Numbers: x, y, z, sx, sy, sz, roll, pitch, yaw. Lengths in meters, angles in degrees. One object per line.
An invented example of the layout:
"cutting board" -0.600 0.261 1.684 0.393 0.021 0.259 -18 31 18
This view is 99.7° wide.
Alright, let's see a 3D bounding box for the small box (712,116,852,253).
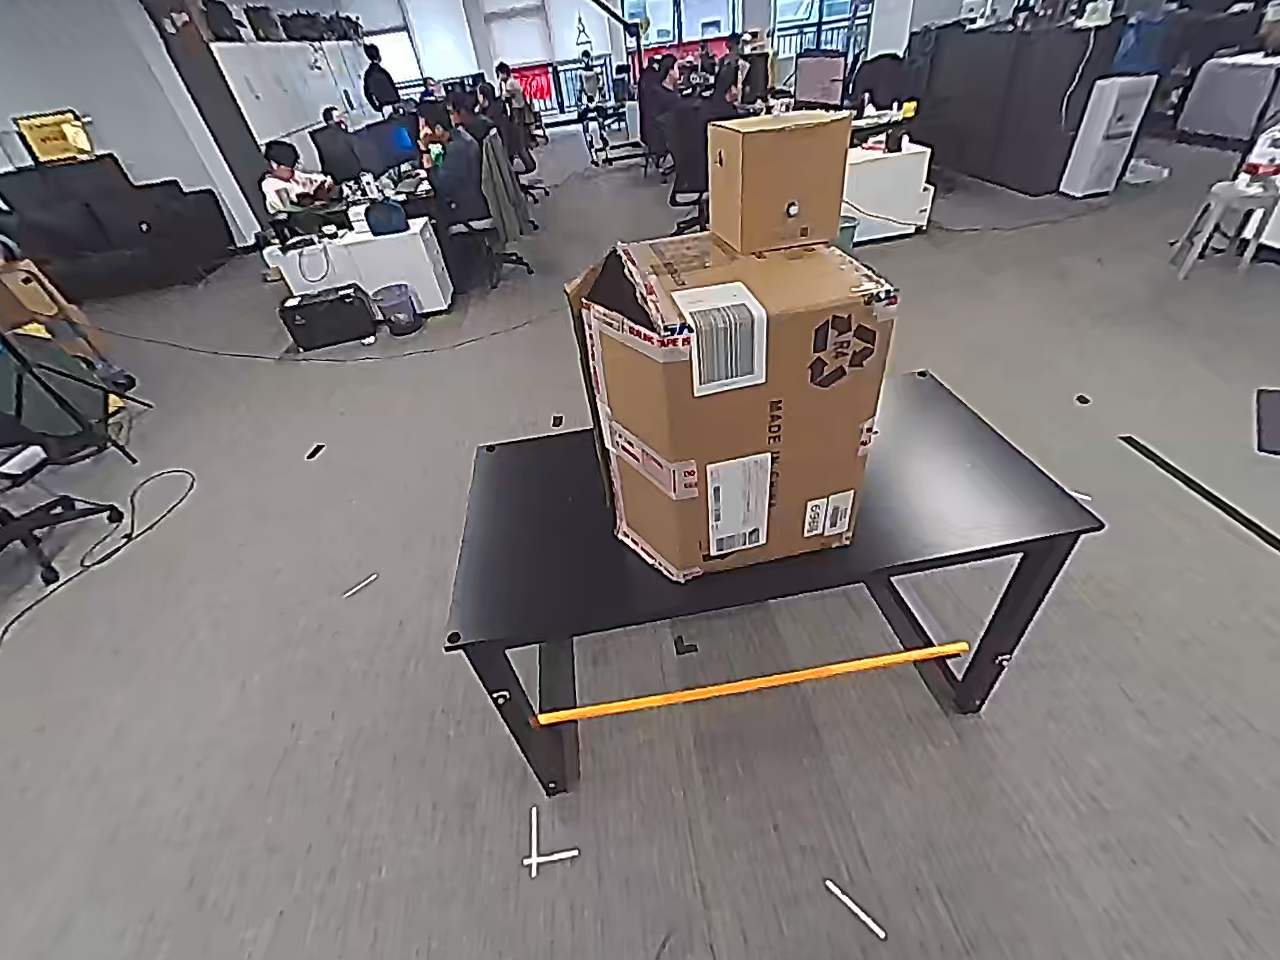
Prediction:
"small box" 0.218 -0.483 0.884 0.168 0.176 0.179 -11 38 -5
